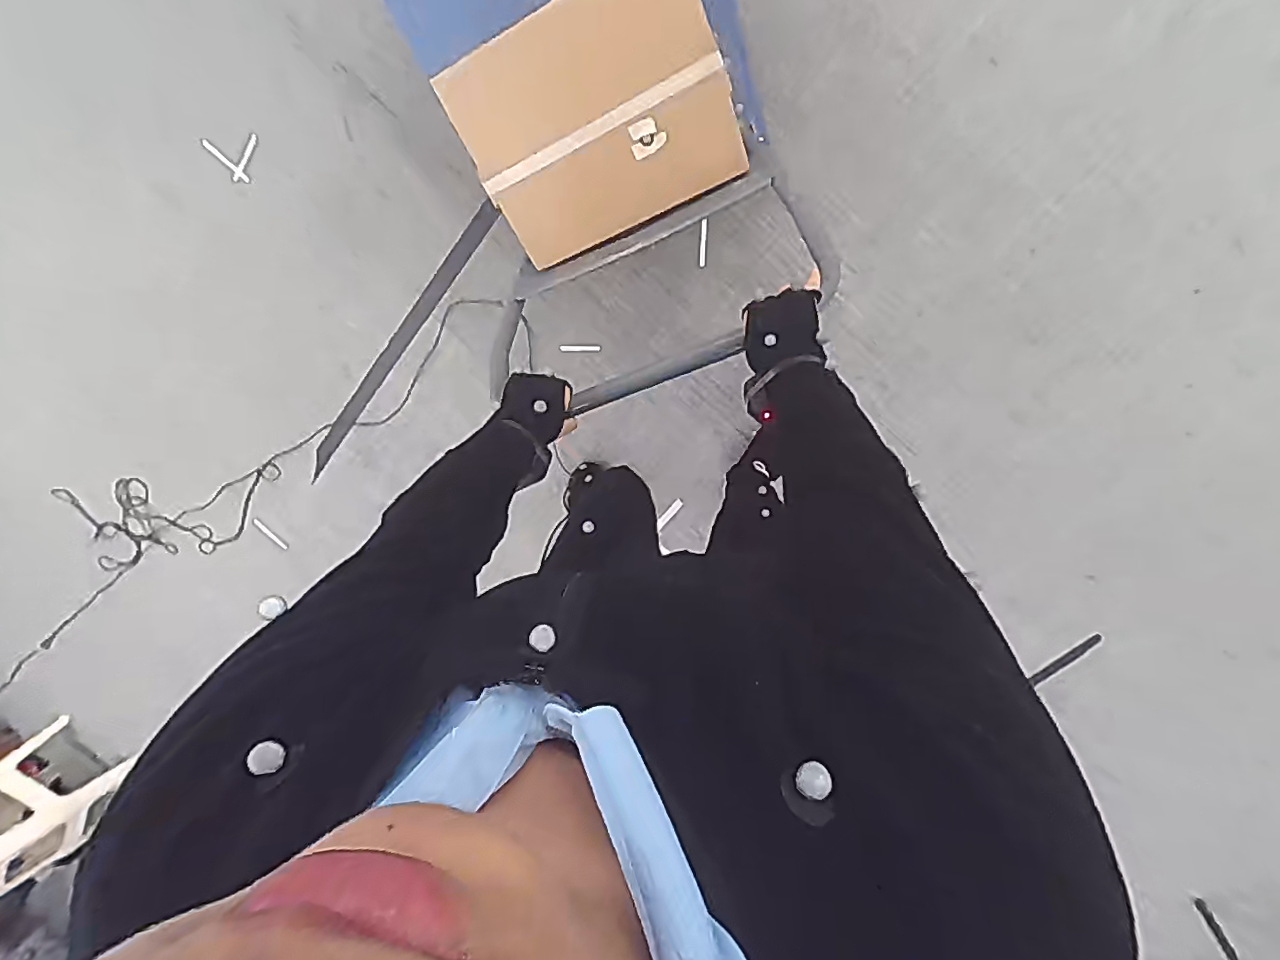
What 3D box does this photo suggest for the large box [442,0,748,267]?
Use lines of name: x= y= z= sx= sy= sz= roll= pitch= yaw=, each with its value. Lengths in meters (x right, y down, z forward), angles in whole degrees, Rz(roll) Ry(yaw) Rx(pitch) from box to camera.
large box: x=-0.065 y=-0.655 z=0.970 sx=0.408 sy=0.320 sz=0.320 roll=-21 pitch=127 yaw=16
